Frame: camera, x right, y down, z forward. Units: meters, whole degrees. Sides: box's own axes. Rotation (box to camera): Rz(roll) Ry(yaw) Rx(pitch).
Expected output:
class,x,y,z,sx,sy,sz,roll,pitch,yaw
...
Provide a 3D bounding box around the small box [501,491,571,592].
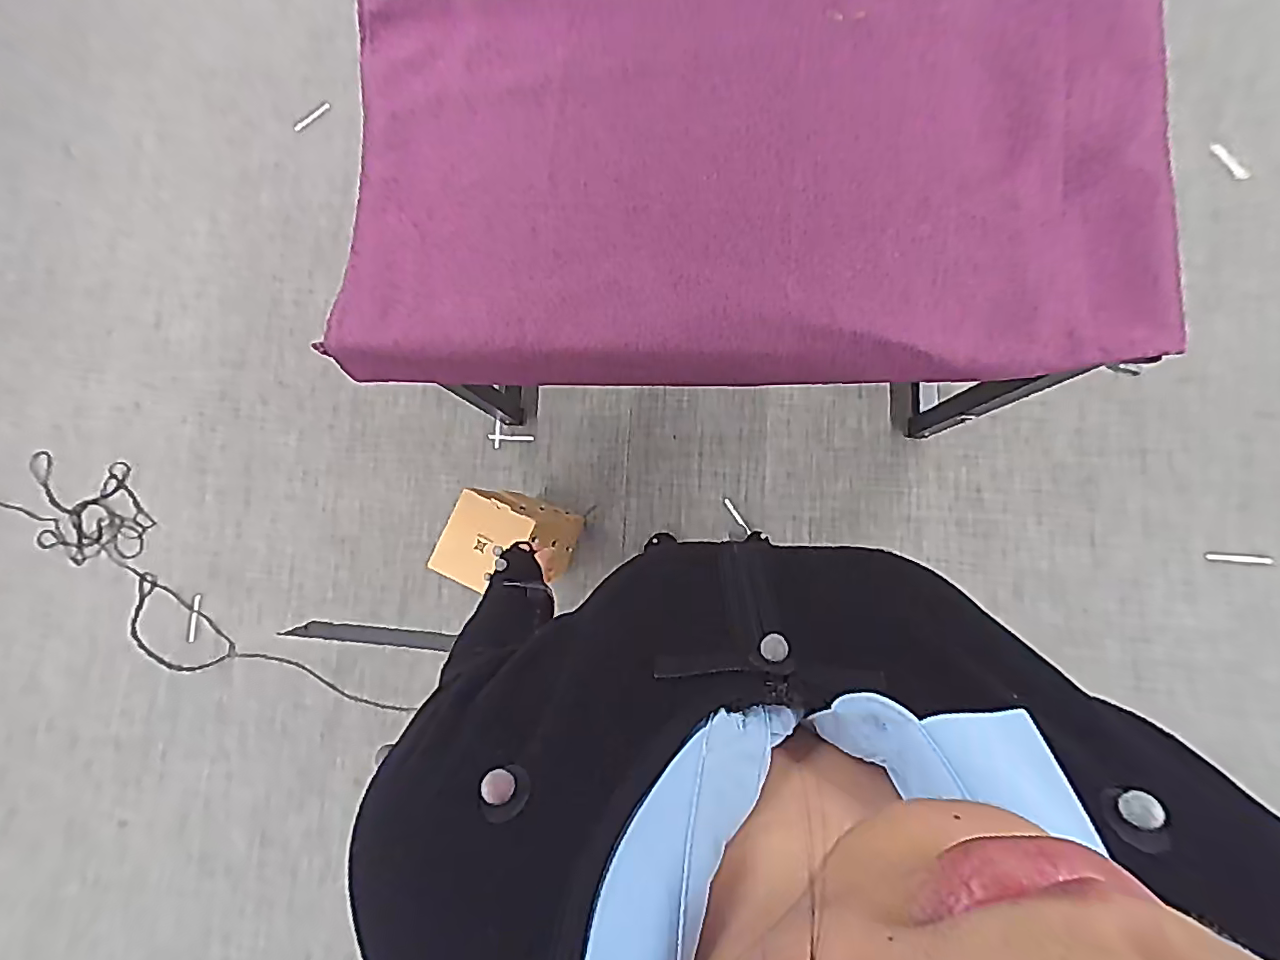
class,x,y,z,sx,sy,sz,roll,pitch,yaw
small box,-0.282,0.144,1.299,0.168,0.176,0.179,31,88,7

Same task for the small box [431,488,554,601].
class,x,y,z,sx,sy,sz,roll,pitch,yaw
small box,-0.299,0.134,1.137,0.168,0.176,0.179,24,87,6
